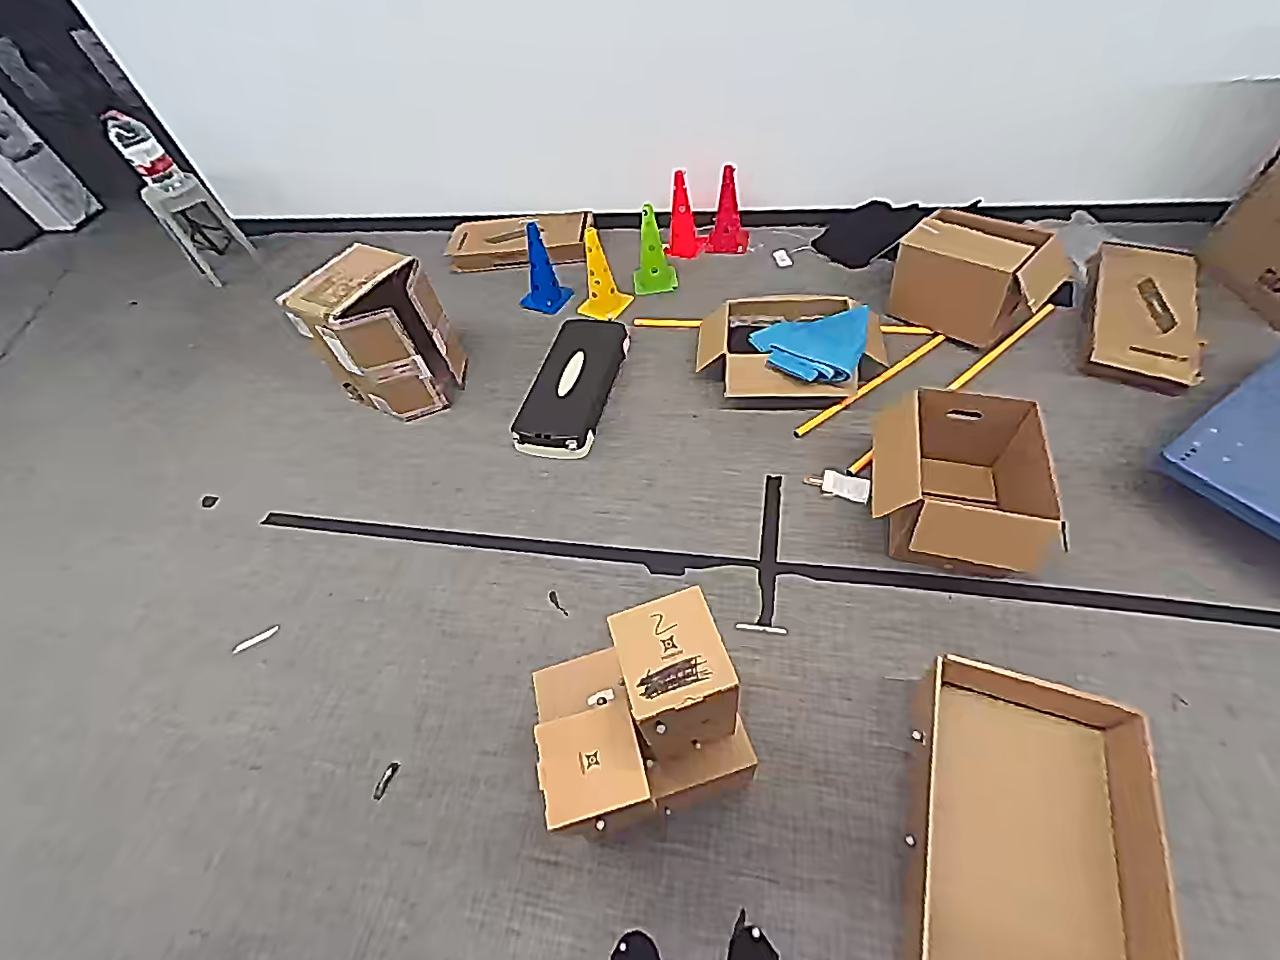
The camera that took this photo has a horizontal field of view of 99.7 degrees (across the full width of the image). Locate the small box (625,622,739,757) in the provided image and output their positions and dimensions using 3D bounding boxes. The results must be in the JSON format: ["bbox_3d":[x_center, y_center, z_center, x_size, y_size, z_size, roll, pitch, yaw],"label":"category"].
[{"bbox_3d":[0.079,0.405,1.041,0.168,0.176,0.179,-19,54,-5],"label":"small box"}]

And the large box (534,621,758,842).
[{"bbox_3d":[0.018,0.576,1.230,0.408,0.320,0.320,-18,52,-4],"label":"large box"}]
